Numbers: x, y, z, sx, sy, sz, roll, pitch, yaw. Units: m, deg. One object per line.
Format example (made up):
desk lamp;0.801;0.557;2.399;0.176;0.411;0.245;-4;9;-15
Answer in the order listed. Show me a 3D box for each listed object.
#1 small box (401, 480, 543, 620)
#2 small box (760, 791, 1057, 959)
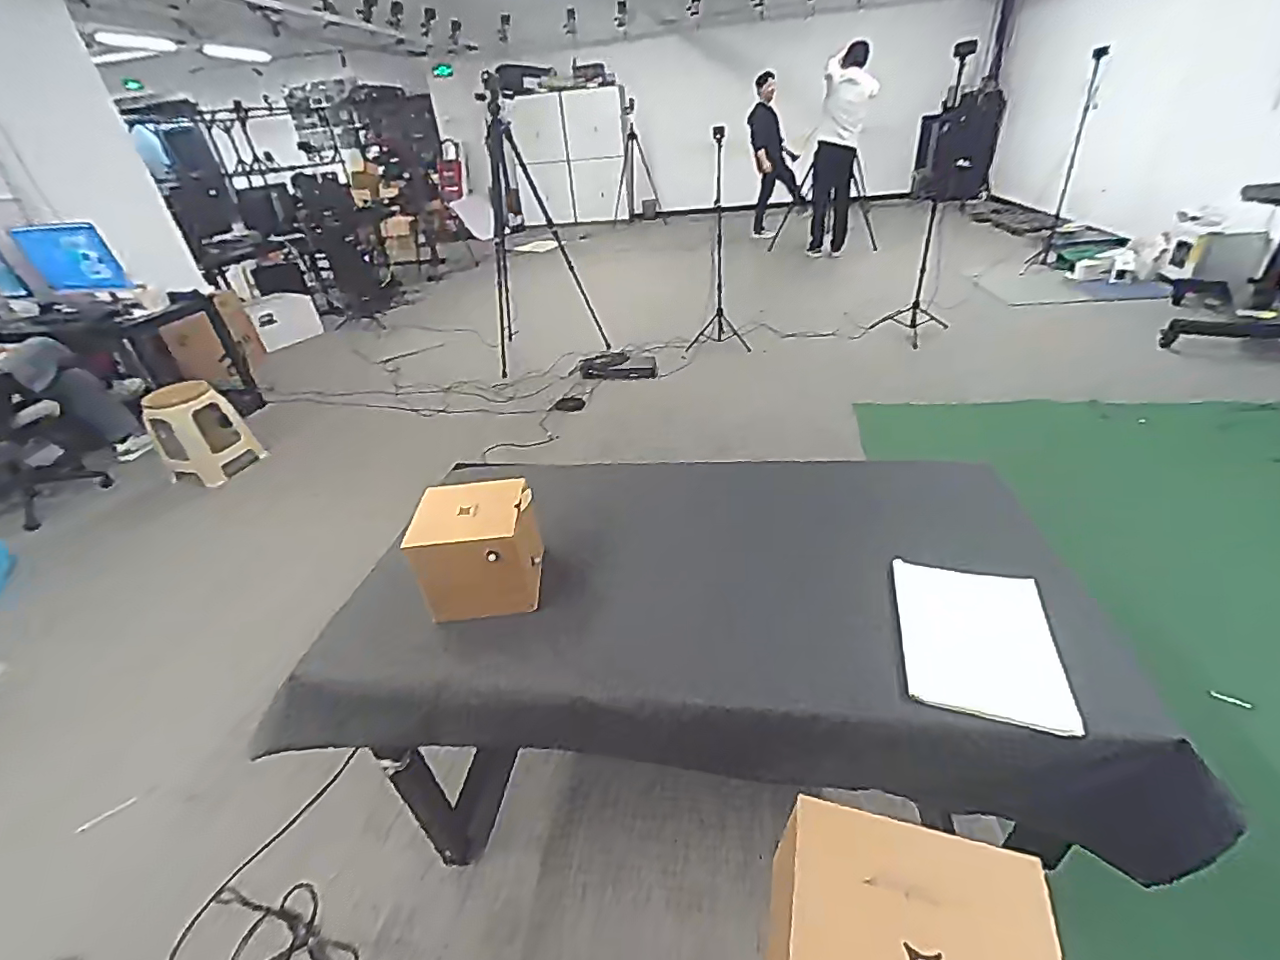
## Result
small box;-0.272;0.120;0.920;0.179;0.176;0.168;-6;32;-1
small box;0.176;0.365;0.386;0.168;0.176;0.179;8;43;13
